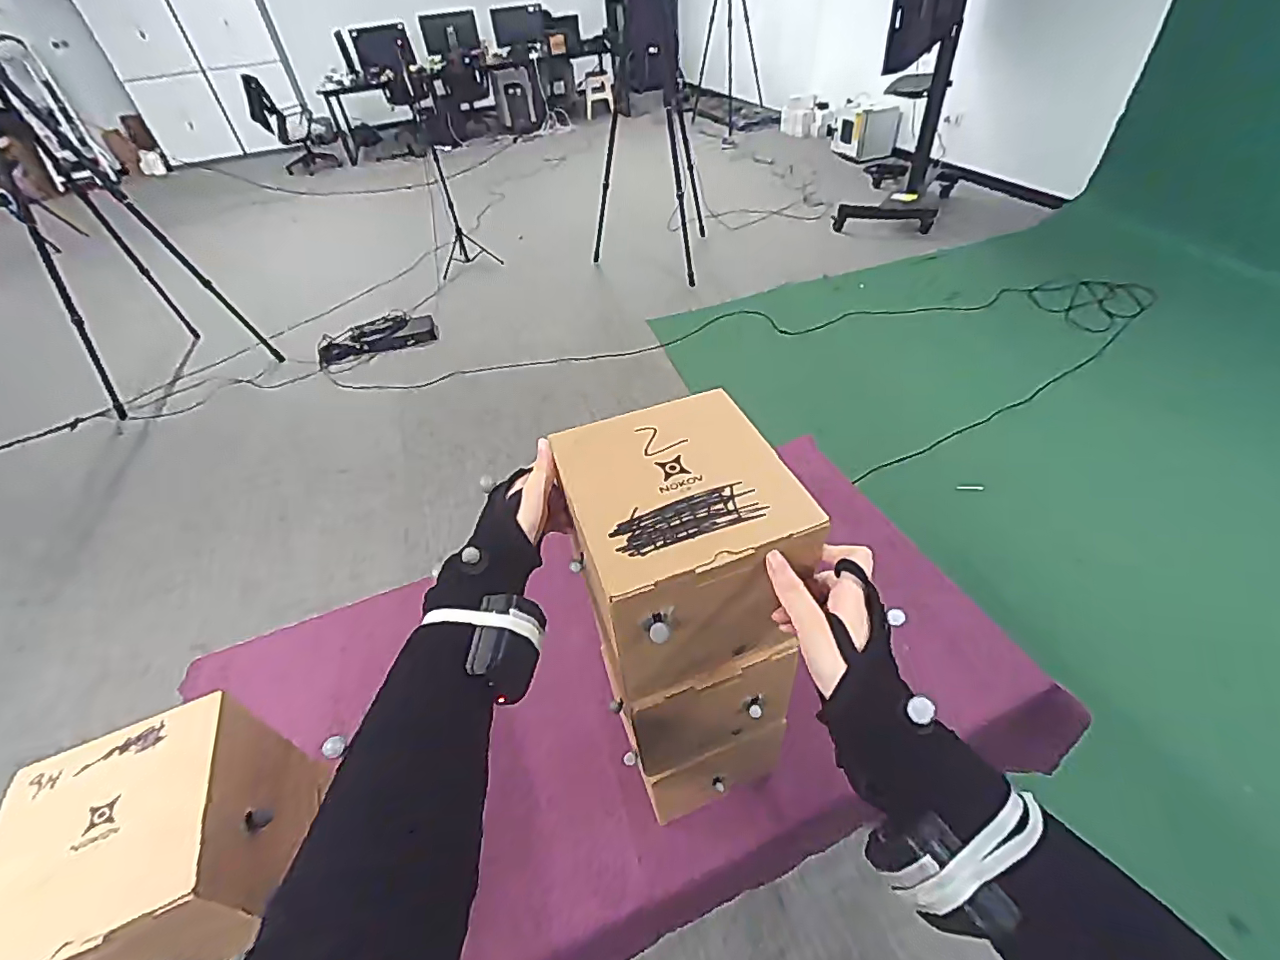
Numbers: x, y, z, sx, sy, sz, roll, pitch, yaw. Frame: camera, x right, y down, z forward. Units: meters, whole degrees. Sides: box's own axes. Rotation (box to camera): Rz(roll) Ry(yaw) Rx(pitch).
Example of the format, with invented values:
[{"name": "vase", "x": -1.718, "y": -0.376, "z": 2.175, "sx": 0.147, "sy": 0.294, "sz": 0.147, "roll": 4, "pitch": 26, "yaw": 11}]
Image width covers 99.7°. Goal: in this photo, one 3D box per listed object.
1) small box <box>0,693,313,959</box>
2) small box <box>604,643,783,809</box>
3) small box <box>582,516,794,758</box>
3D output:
[{"name": "small box", "x": -0.424, "y": 0.338, "z": 0.494, "sx": 0.168, "sy": 0.176, "sz": 0.179, "roll": -20, "pitch": 45, "yaw": -14}, {"name": "small box", "x": 0.066, "y": 0.295, "z": 0.700, "sx": 0.168, "sy": 0.176, "sz": 0.179, "roll": -18, "pitch": 44, "yaw": -11}, {"name": "small box", "x": 0.048, "y": 0.175, "z": 0.590, "sx": 0.168, "sy": 0.176, "sz": 0.179, "roll": -17, "pitch": 44, "yaw": -9}]
